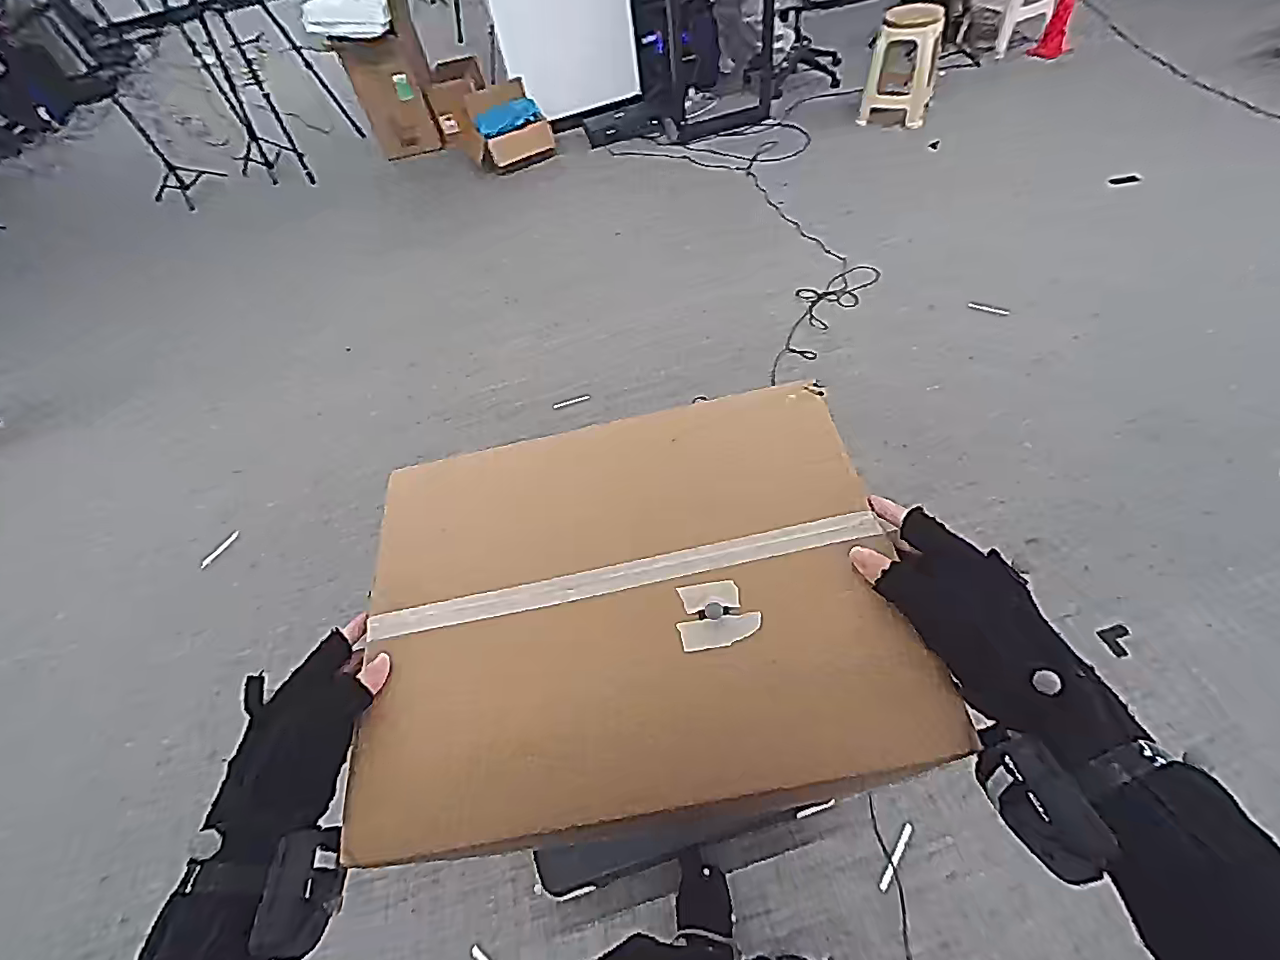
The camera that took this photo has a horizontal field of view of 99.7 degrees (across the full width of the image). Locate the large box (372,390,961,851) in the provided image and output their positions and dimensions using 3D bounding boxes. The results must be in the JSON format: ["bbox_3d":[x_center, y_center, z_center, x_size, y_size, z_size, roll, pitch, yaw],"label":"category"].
[{"bbox_3d":[0.012,0.160,0.556,0.408,0.320,0.320,-12,56,2],"label":"large box"}]
